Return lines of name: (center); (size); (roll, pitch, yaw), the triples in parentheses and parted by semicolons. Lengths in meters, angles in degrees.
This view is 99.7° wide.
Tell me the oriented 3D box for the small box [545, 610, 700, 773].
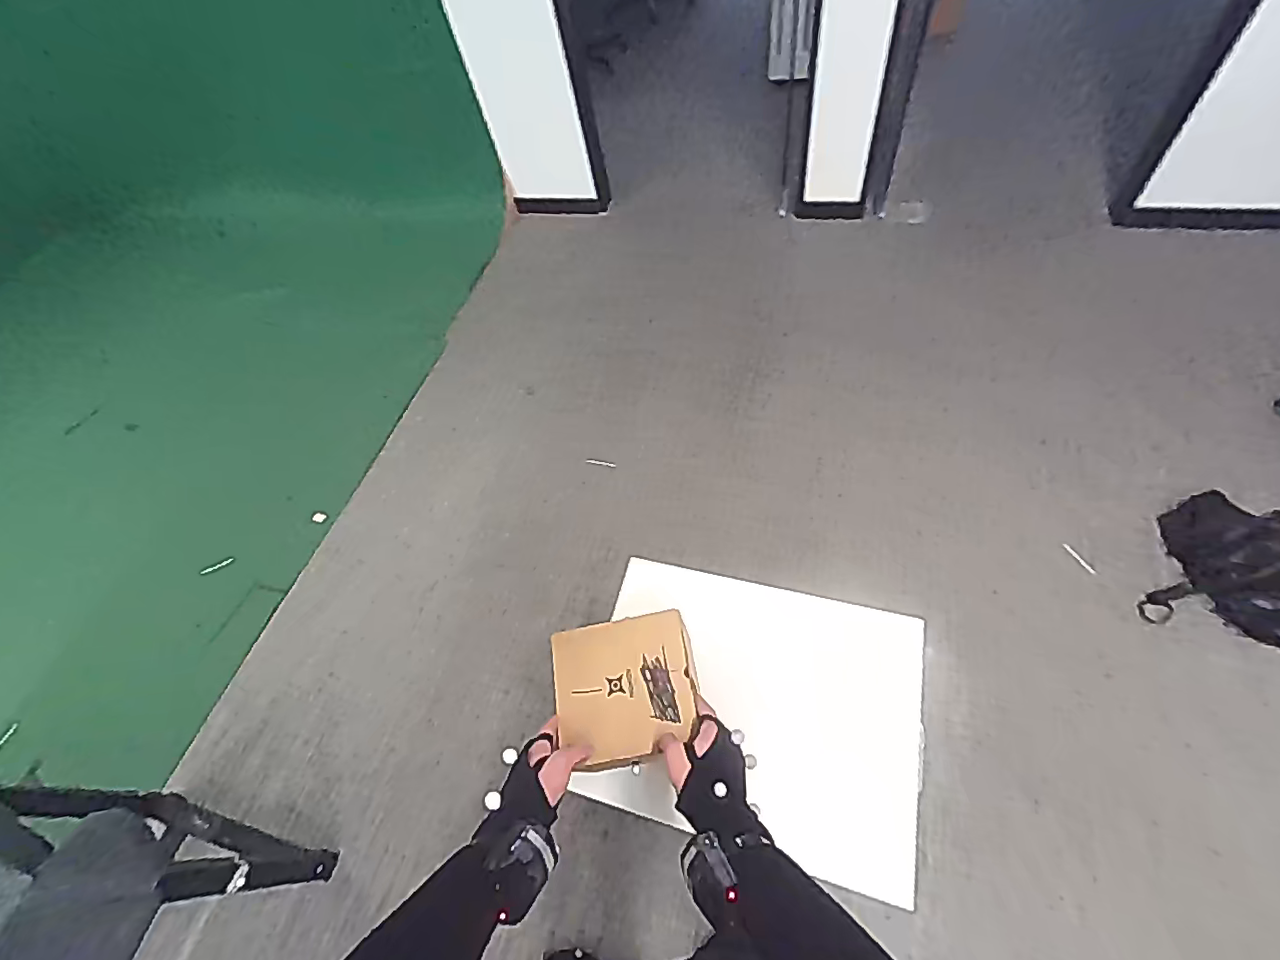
small box: (-0.017, 0.290, 0.729); (0.179, 0.176, 0.168); (-12, 59, 3)
